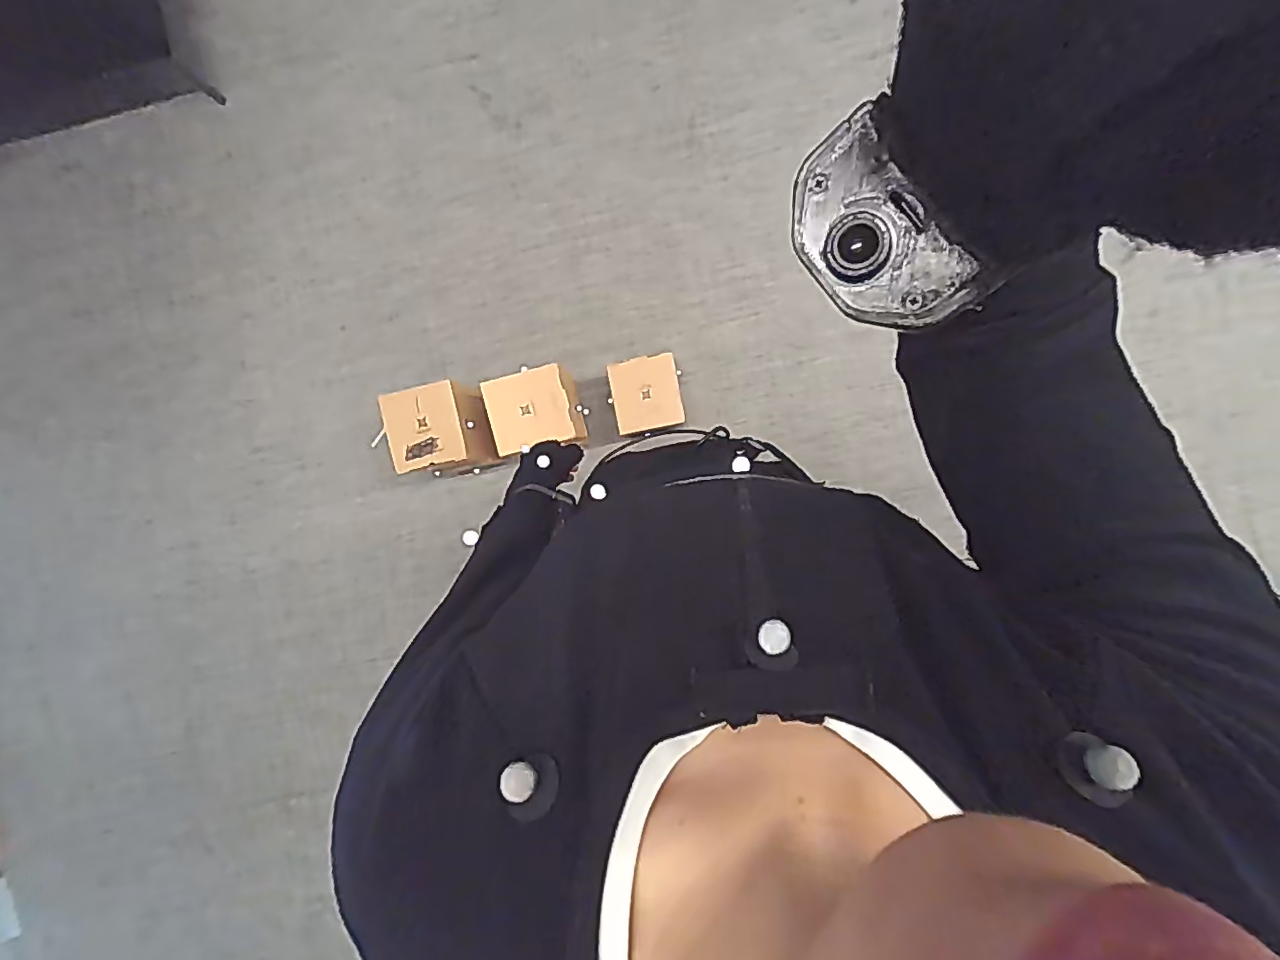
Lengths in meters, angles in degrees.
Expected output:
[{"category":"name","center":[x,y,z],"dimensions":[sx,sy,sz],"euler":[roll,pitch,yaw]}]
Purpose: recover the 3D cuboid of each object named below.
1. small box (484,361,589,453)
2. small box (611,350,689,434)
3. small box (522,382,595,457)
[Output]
[{"category":"small box","center":[-0.228,-0.158,1.232],"dimensions":[0.179,0.176,0.168],"euler":[-15,93,3]},{"category":"small box","center":[0.027,-0.218,1.381],"dimensions":[0.168,0.176,0.179],"euler":[-11,93,4]},{"category":"small box","center":[-0.223,-0.160,1.394],"dimensions":[0.168,0.176,0.179],"euler":[-14,91,5]}]
